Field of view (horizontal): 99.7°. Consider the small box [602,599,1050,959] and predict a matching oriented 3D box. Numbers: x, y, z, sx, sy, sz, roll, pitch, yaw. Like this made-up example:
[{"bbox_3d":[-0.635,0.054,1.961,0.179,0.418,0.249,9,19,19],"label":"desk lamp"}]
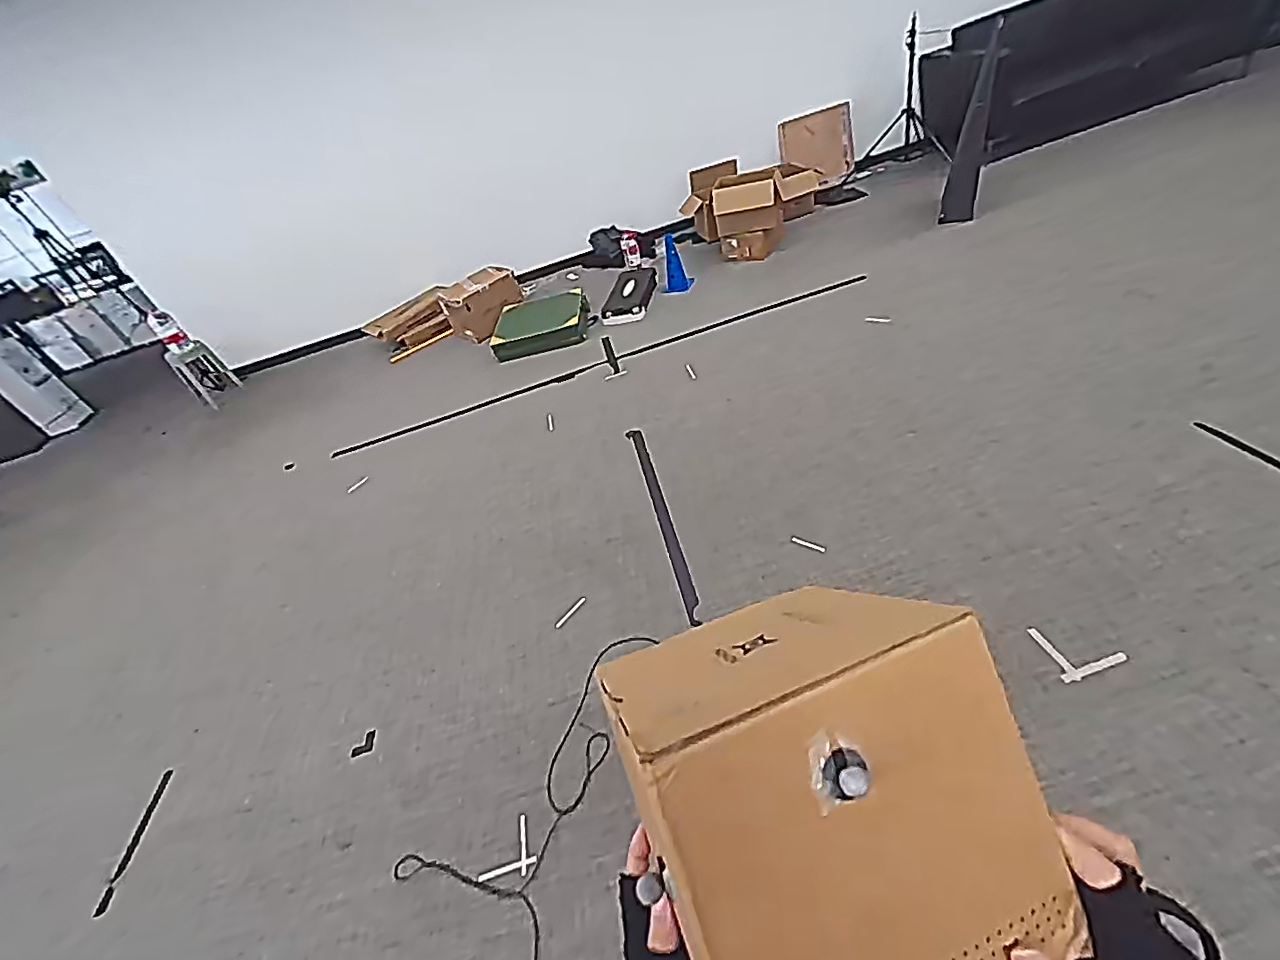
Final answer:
[{"bbox_3d":[0.092,0.187,0.327,0.179,0.176,0.168,-18,-4,-12],"label":"small box"}]
